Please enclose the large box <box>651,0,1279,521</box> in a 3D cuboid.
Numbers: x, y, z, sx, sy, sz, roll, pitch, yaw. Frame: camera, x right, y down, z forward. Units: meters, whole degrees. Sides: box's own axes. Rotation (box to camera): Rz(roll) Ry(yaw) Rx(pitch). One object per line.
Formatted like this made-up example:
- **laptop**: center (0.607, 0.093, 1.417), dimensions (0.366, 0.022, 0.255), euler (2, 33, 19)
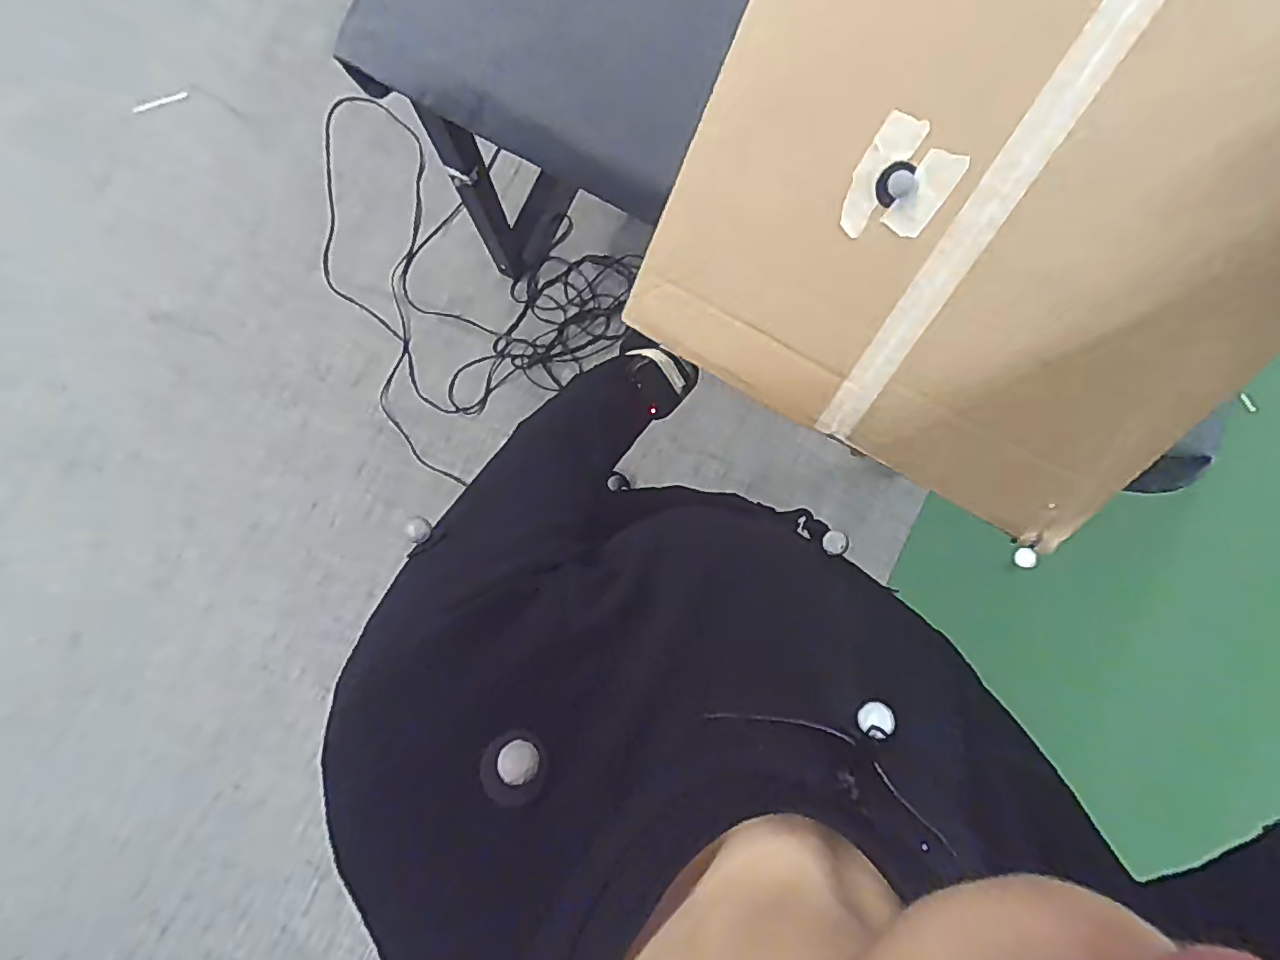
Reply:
- **large box**: center (0.255, -0.260, 0.384), dimensions (0.320, 0.320, 0.408), euler (29, 123, 5)
